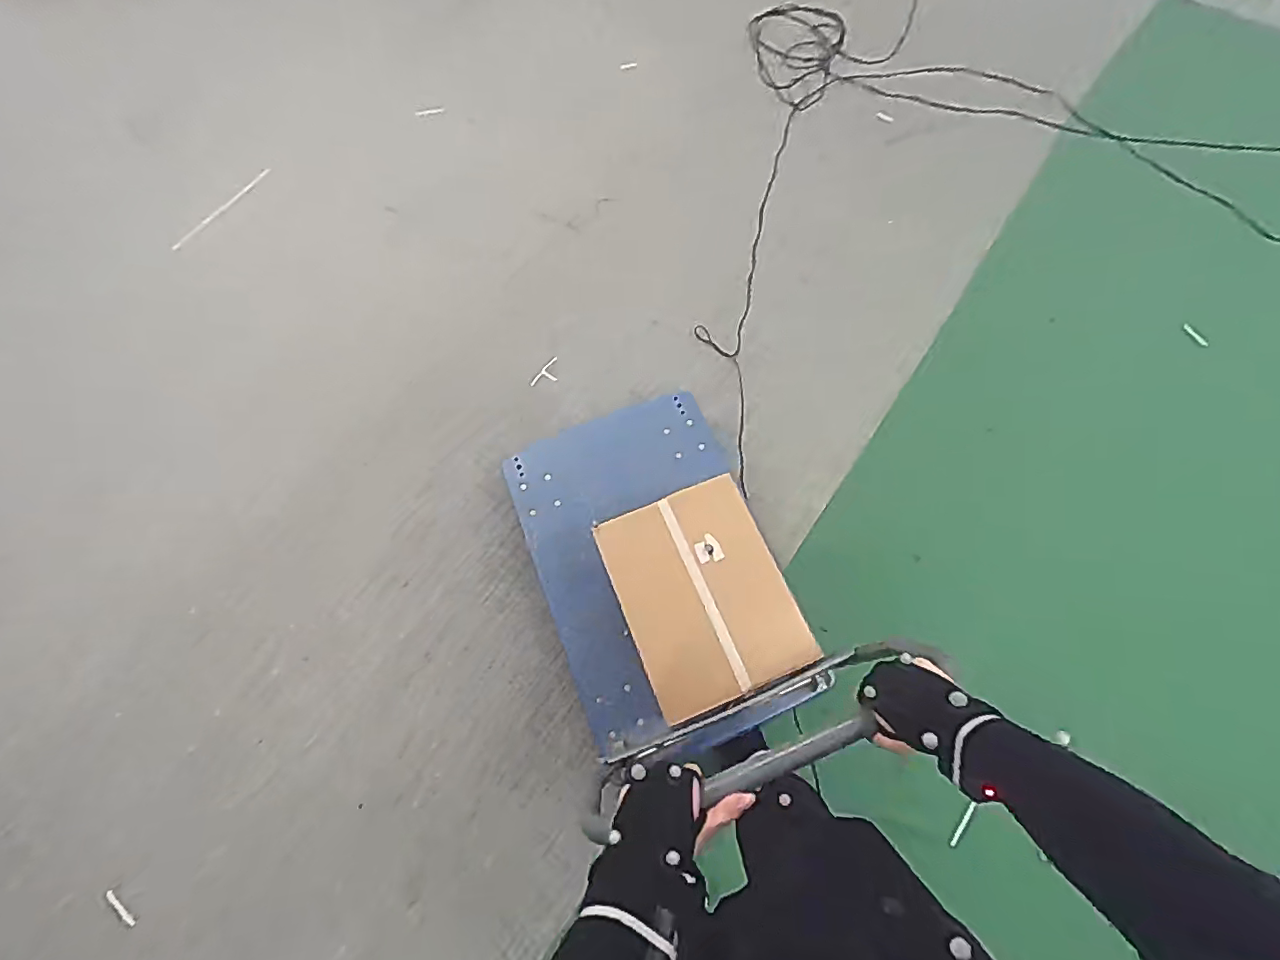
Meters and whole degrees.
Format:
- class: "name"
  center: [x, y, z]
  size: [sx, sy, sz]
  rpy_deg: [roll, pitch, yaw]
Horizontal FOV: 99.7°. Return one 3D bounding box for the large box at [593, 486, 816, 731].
- class: "large box"
  center: [0.126, 0.291, 1.204]
  size: [0.320, 0.320, 0.408]
  rpy_deg: [-22, 68, -6]
